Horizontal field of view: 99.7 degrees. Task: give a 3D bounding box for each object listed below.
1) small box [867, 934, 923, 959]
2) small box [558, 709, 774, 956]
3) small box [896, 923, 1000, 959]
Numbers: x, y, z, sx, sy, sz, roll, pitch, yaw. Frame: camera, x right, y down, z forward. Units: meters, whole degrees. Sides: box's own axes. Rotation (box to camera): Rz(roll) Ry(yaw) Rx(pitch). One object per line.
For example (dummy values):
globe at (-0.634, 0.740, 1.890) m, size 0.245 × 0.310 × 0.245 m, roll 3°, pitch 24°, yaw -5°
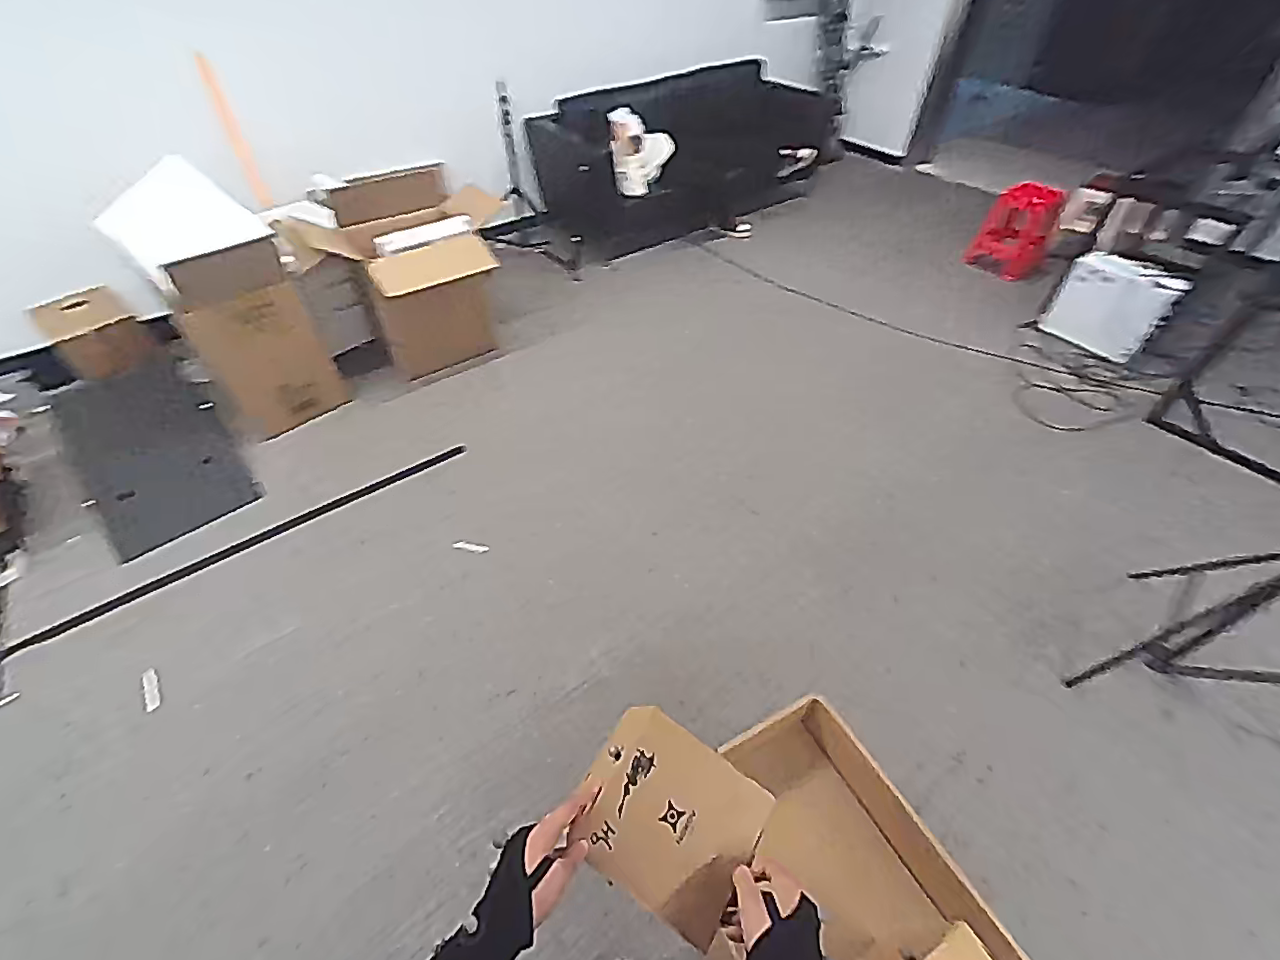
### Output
small box at (0.386, 0.816, 0.788) m, size 0.179 × 0.176 × 0.168 m, roll -22°, pitch 50°, yaw -22°
small box at (0.021, 0.393, 0.643) m, size 0.179 × 0.176 × 0.168 m, roll 35°, pitch 64°, yaw 4°
small box at (0.390, 0.703, 0.671) m, size 0.179 × 0.176 × 0.168 m, roll -22°, pitch 50°, yaw -21°
